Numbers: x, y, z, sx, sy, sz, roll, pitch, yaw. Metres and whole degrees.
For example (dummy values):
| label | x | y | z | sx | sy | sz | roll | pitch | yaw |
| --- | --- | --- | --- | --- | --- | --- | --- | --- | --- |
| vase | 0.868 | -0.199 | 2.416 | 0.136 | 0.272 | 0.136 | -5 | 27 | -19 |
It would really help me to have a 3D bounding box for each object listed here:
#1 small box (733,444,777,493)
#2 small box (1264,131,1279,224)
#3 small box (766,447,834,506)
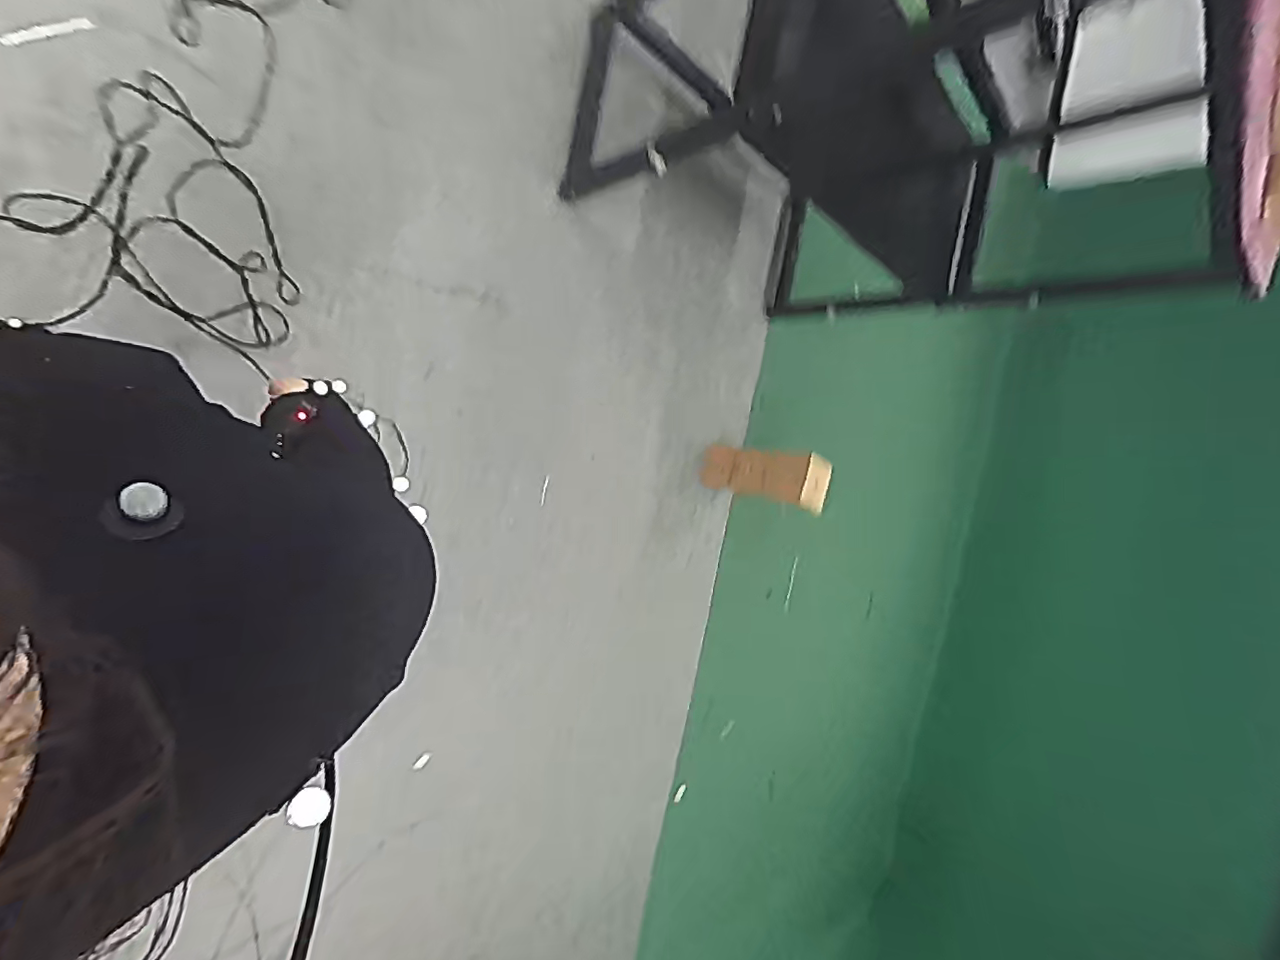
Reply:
| label | x | y | z | sx | sy | sz | roll | pitch | yaw |
| --- | --- | --- | --- | --- | --- | --- | --- | --- | --- |
| small box | 0.498 | -0.042 | 2.171 | 0.179 | 0.176 | 0.168 | 18 | 86 | -42 |
| small box | 1.457 | -0.673 | 1.134 | 0.168 | 0.176 | 0.179 | 13 | 88 | -41 |
| small box | 0.599 | -0.019 | 2.040 | 0.168 | 0.176 | 0.179 | 22 | 84 | -42 |
